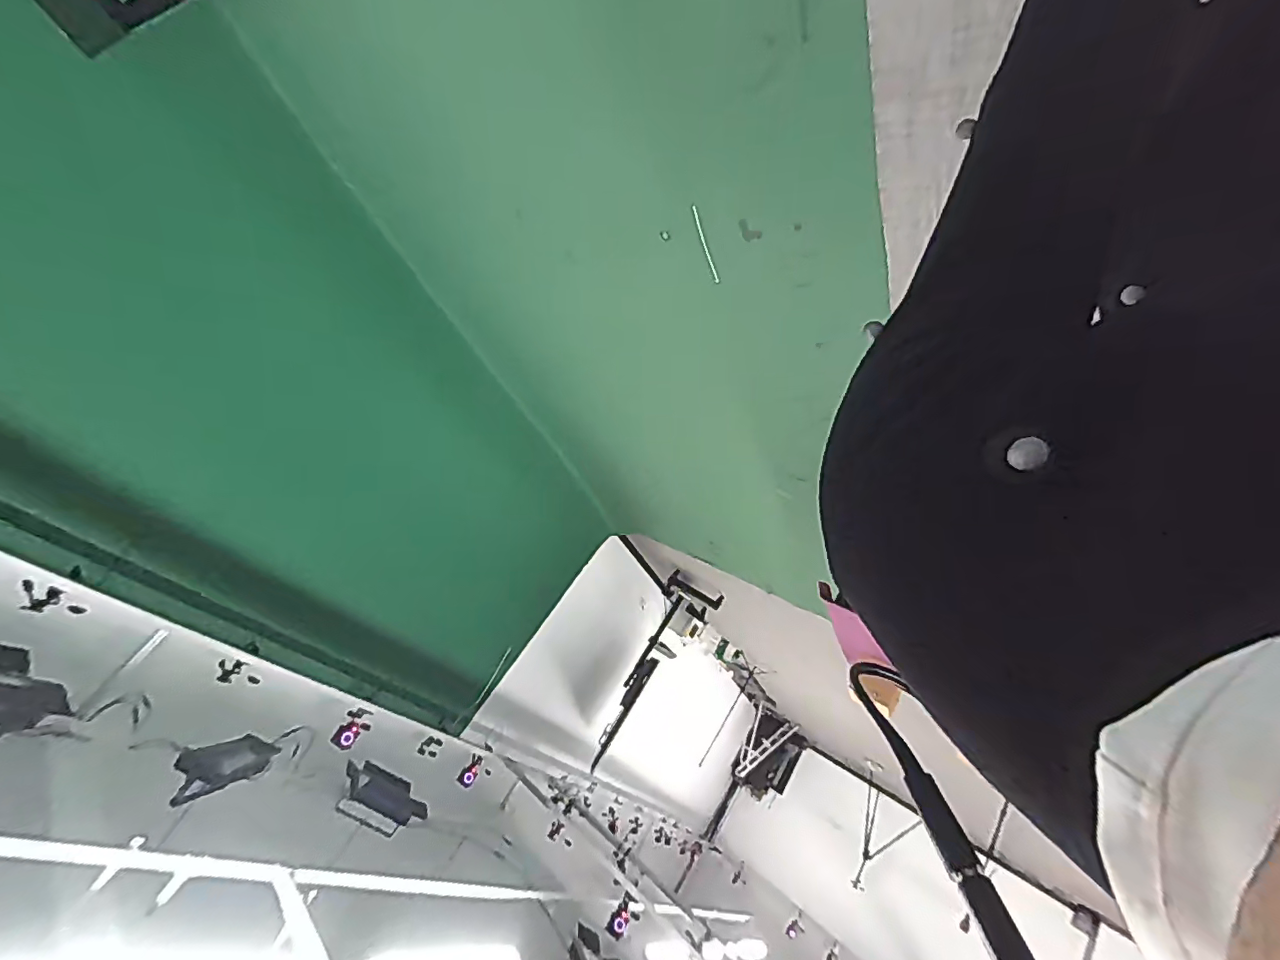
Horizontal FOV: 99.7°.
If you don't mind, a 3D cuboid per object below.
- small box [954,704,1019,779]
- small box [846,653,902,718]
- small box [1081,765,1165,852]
[{"bbox_3d":[1.292,0.973,2.016,0.168,0.176,0.179,18,153,39],"label":"small box"},{"bbox_3d":[0.982,0.855,2.260,0.168,0.176,0.179,20,155,36],"label":"small box"},{"bbox_3d":[1.562,1.057,1.749,0.168,0.176,0.179,18,154,43],"label":"small box"}]
